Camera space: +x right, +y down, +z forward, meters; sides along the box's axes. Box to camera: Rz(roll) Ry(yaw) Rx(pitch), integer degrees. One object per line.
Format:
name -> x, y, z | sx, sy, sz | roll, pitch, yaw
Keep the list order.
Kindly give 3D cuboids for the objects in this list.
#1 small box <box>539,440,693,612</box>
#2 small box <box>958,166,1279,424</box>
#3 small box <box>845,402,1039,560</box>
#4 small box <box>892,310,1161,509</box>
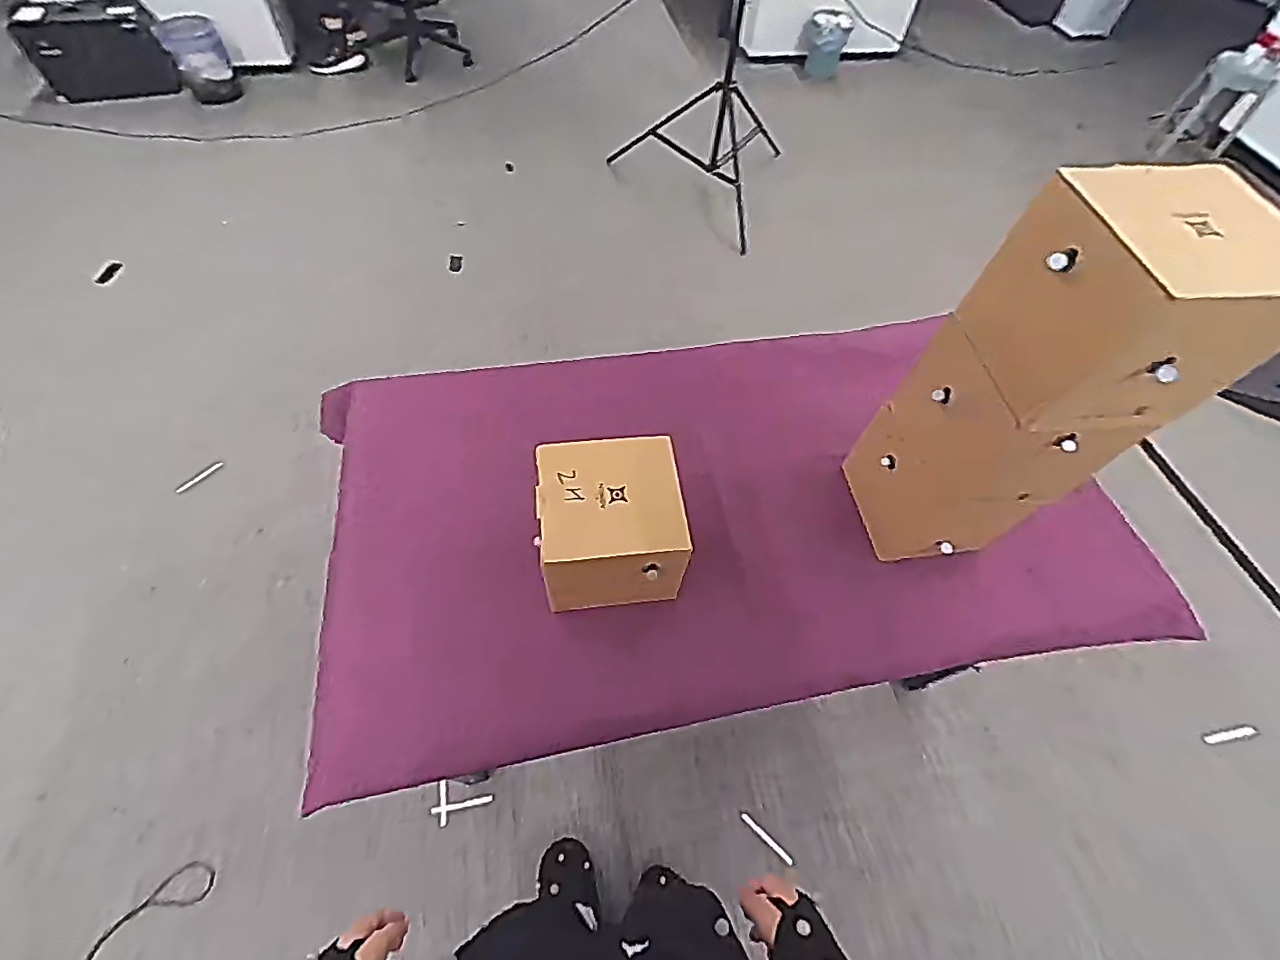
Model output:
small box -> -0.039, 0.065, 0.723 | 0.179, 0.176, 0.168 | -5, 58, -7
small box -> 0.448, -0.165, 0.511 | 0.168, 0.176, 0.179 | -4, 58, -5
small box -> 0.429, -0.001, 0.794 | 0.168, 0.176, 0.179 | -6, 59, -7
small box -> 0.438, -0.084, 0.653 | 0.168, 0.176, 0.179 | -4, 58, -5
